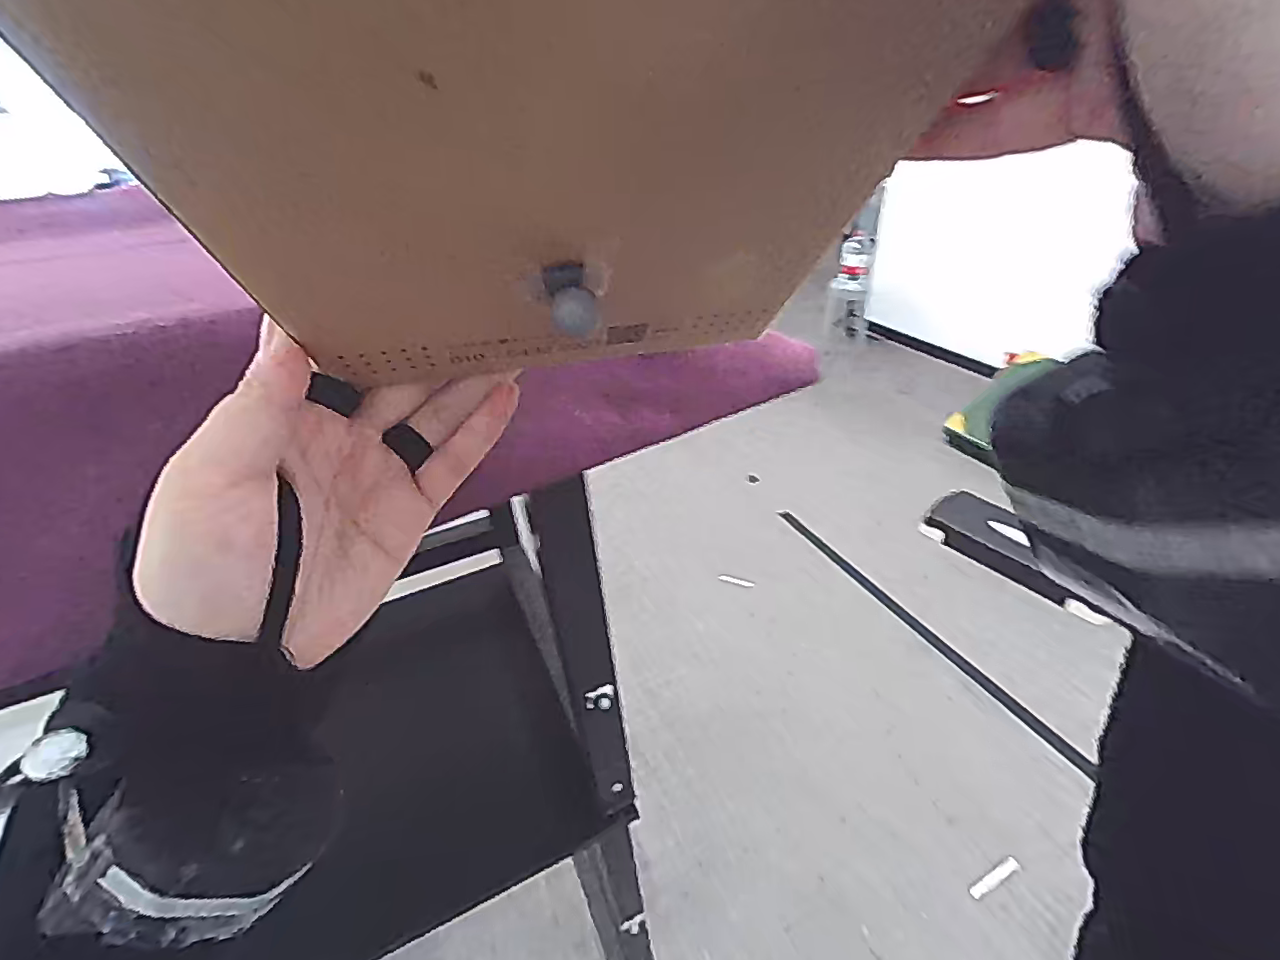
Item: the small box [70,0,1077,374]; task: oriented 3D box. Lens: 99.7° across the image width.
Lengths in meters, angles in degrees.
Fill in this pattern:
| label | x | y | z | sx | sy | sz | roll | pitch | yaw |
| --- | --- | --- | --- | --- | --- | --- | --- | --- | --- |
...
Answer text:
| label | x | y | z | sx | sy | sz | roll | pitch | yaw |
| --- | --- | --- | --- | --- | --- | --- | --- | --- | --- |
| small box | -0.025 | -0.145 | 0.134 | 0.168 | 0.176 | 0.179 | -9 | 80 | -11 |
